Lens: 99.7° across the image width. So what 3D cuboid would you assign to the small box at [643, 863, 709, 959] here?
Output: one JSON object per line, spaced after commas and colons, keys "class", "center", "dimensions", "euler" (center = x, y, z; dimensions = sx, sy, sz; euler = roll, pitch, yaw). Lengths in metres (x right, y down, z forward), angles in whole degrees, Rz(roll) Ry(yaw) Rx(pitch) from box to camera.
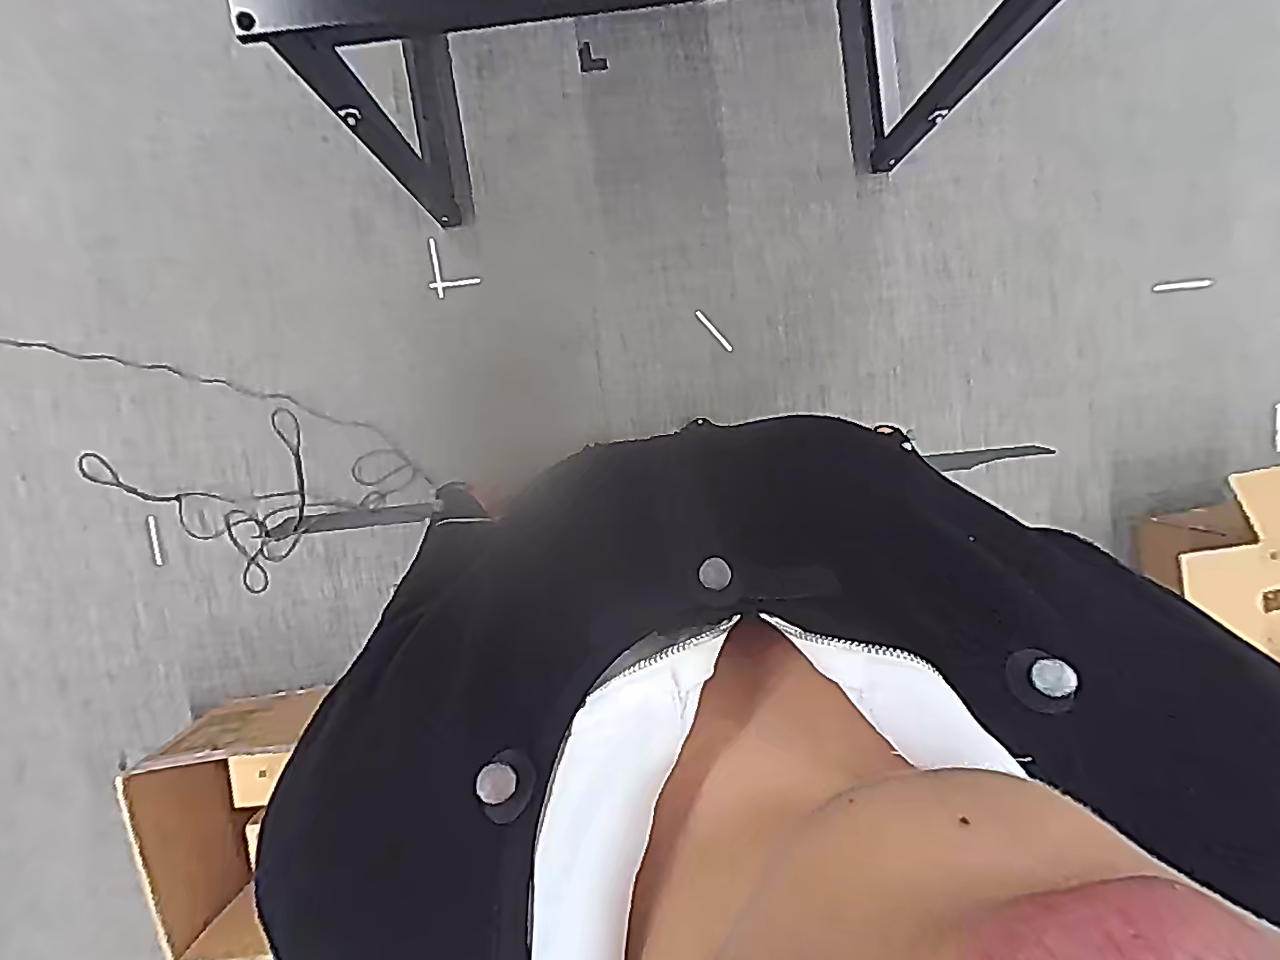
{"class": "small box", "center": [0.094, 1.188, 1.482], "dimensions": [0.168, 0.176, 0.179], "euler": [-3, 94, -2]}
